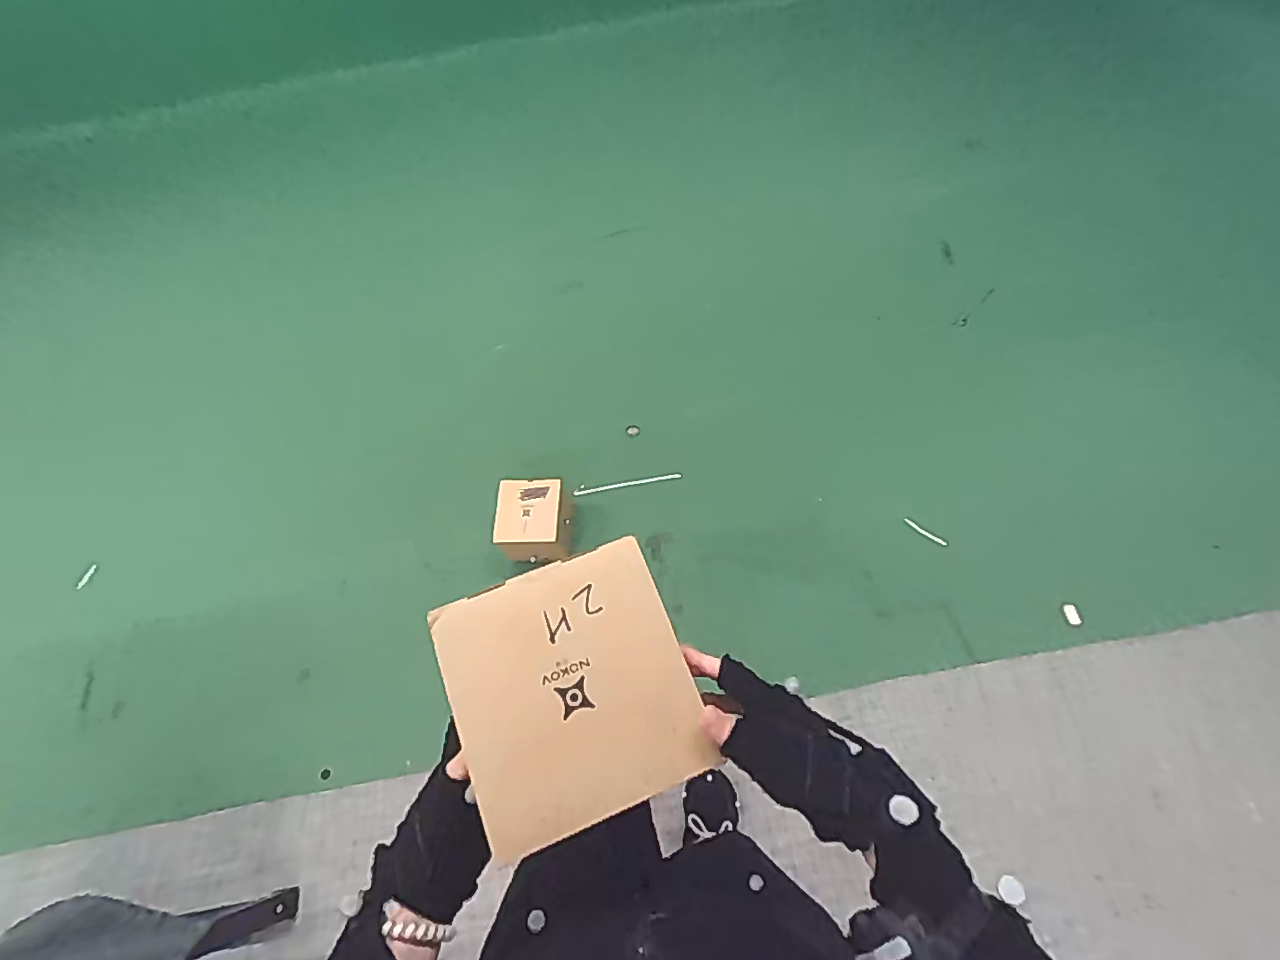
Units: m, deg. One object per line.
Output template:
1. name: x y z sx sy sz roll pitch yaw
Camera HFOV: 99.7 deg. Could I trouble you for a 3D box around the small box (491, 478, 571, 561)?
1. small box: -0.284 0.109 1.452 0.168 0.176 0.179 -1 65 5
